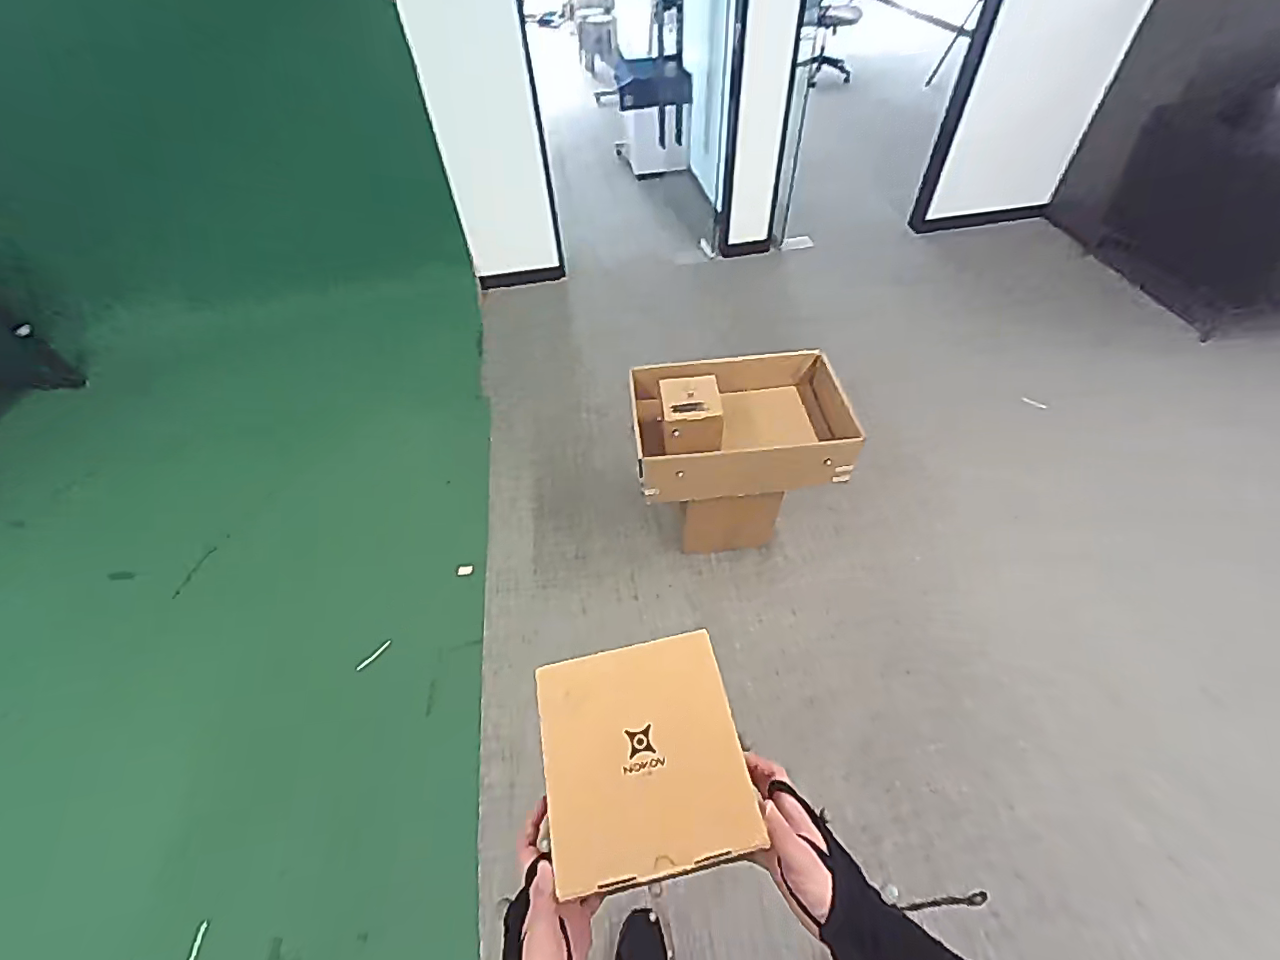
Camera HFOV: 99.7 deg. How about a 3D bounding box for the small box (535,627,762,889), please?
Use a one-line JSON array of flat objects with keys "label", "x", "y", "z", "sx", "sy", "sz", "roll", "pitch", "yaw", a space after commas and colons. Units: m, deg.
[{"label": "small box", "x": 0.002, "y": 0.267, "z": 0.518, "sx": 0.168, "sy": 0.176, "sz": 0.179, "roll": -11, "pitch": 55, "yaw": -4}]
